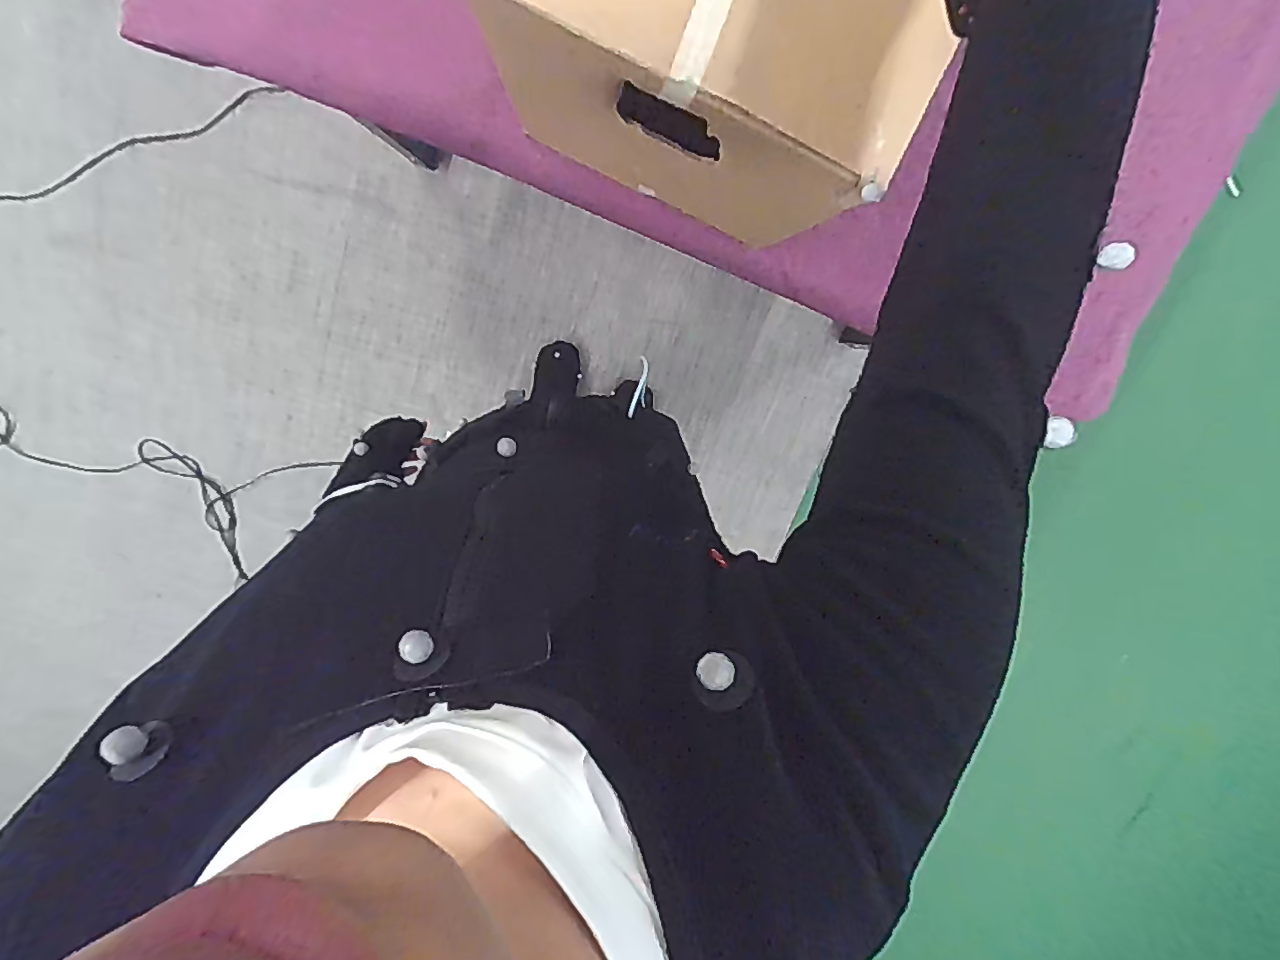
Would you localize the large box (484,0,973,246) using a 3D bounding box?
[{"bbox_3d":[0.100,-0.479,0.469,0.320,0.320,0.408,22,104,-9],"label":"large box"}]
